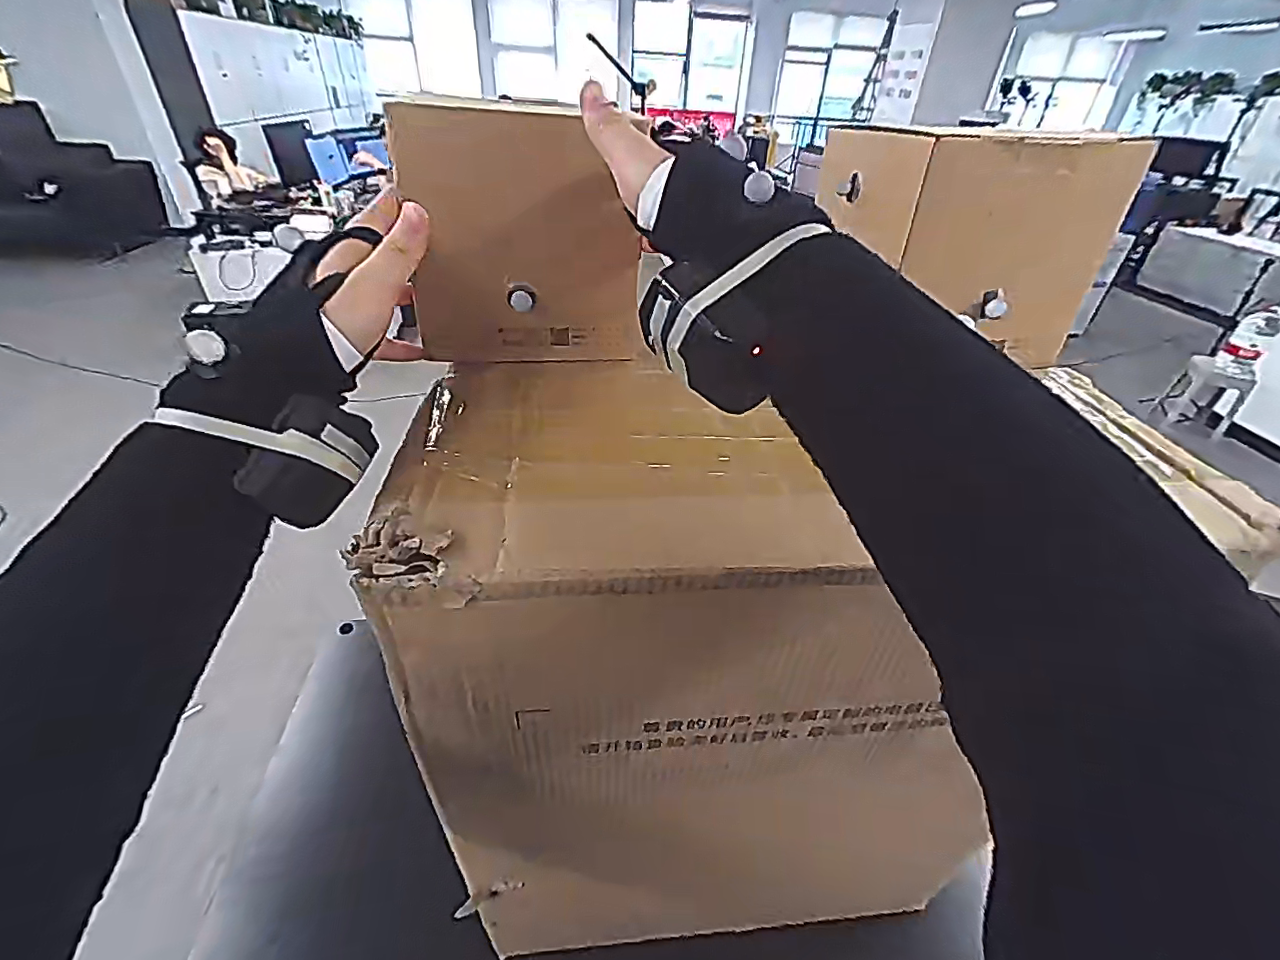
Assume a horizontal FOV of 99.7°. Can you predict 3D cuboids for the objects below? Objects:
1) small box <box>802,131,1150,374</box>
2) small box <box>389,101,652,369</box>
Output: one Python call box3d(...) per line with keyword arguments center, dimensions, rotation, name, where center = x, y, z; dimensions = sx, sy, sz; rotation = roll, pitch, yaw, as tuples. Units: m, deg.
box3d(center=(0.259, -0.203, 0.476), dimensions=(0.168, 0.176, 0.179), rotation=(-3, 35, -6), name="small box")
box3d(center=(-0.092, -0.204, 0.450), dimensions=(0.168, 0.176, 0.179), rotation=(-3, 36, -11), name="small box")
